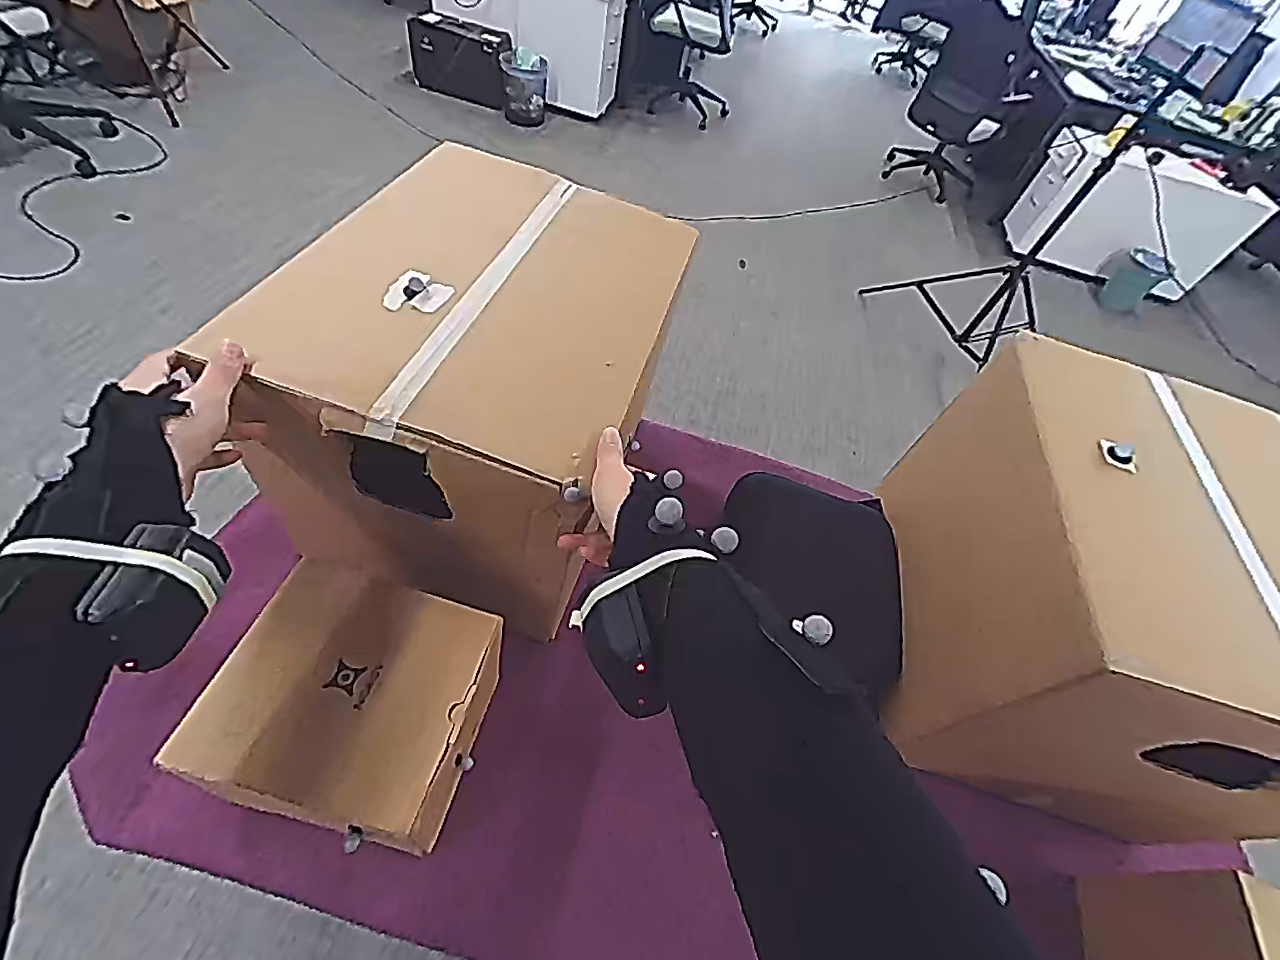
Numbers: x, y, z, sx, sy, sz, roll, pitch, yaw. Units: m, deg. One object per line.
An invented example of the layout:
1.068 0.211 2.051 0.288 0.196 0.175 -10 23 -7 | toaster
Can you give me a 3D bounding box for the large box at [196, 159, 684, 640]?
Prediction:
-0.167 -0.089 0.632 0.320 0.320 0.408 18 54 0 | large box
